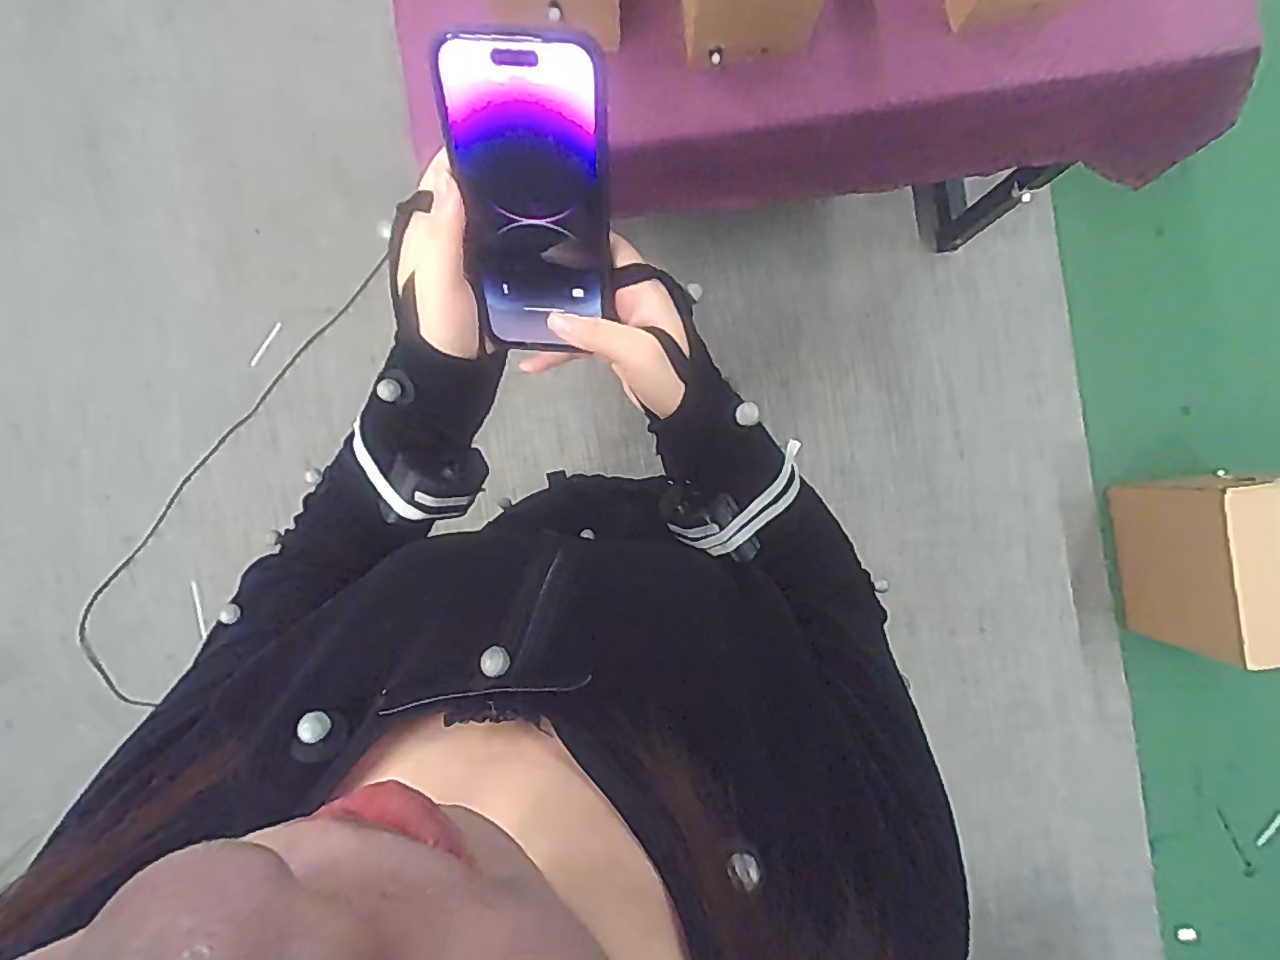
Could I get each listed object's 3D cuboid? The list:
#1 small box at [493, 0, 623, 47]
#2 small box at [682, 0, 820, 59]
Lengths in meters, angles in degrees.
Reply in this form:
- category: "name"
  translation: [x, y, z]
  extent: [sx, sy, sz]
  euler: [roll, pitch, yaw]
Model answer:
- category: "small box"
  translation: [-0.108, -0.693, 0.684]
  extent: [0.168, 0.176, 0.179]
  euler: [0, 91, 0]
- category: "small box"
  translation: [0.141, -0.675, 0.682]
  extent: [0.168, 0.176, 0.179]
  euler: [-8, 90, 0]
